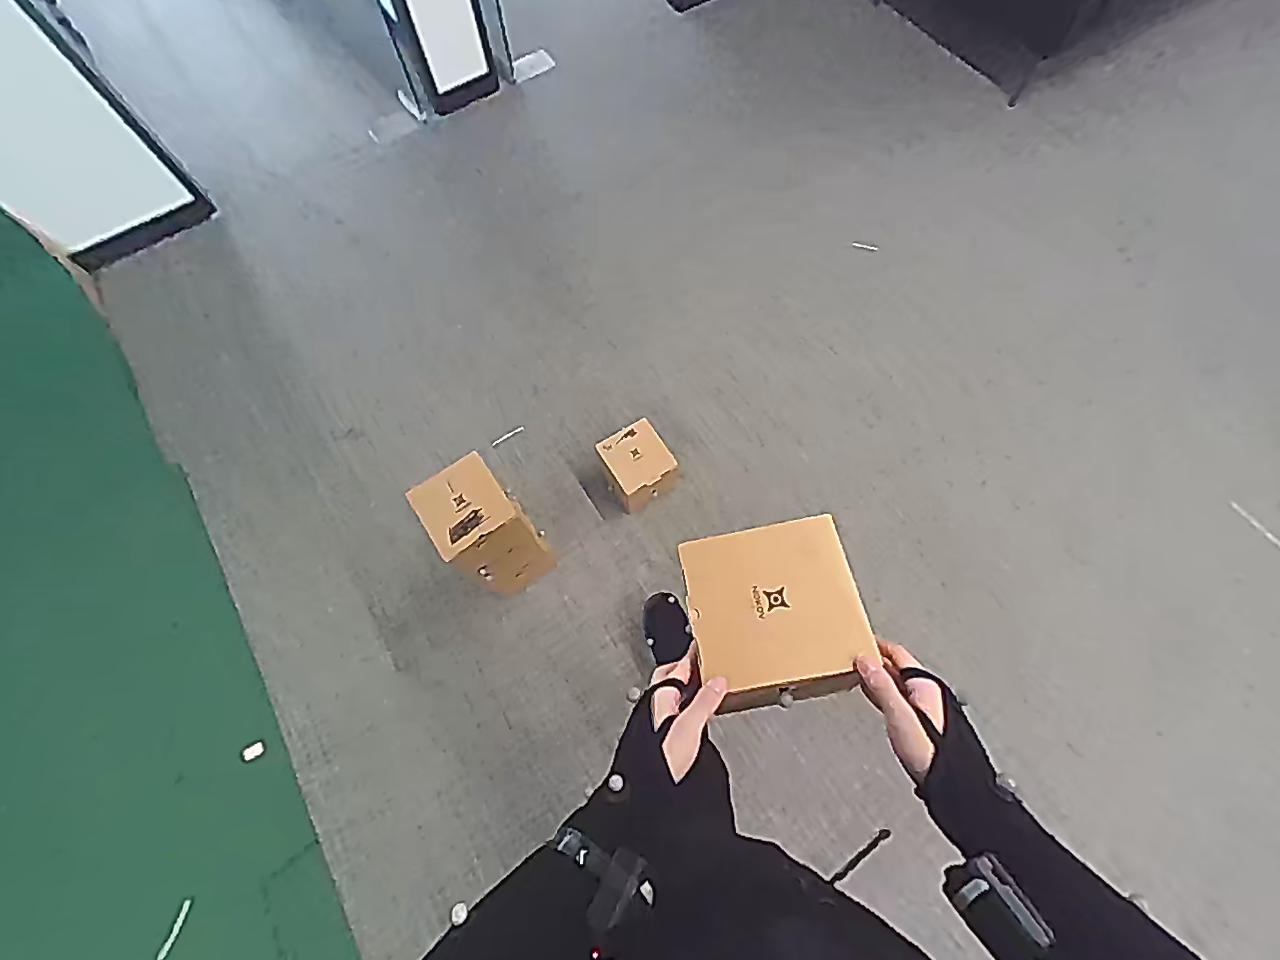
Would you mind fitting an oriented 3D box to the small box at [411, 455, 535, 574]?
[{"bbox_3d":[-0.347,0.084,1.155,0.168,0.176,0.179,-33,70,-12],"label":"small box"}]

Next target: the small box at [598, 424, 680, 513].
[{"bbox_3d":[-0.002,-0.023,1.547,0.168,0.176,0.179,-30,71,-11],"label":"small box"}]

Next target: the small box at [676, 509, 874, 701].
[{"bbox_3d":[0.149,0.156,0.644,0.179,0.176,0.168,-13,59,5],"label":"small box"}]

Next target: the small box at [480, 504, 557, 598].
[{"bbox_3d":[-0.345,0.198,1.463,0.179,0.176,0.168,-32,71,-12],"label":"small box"}]
